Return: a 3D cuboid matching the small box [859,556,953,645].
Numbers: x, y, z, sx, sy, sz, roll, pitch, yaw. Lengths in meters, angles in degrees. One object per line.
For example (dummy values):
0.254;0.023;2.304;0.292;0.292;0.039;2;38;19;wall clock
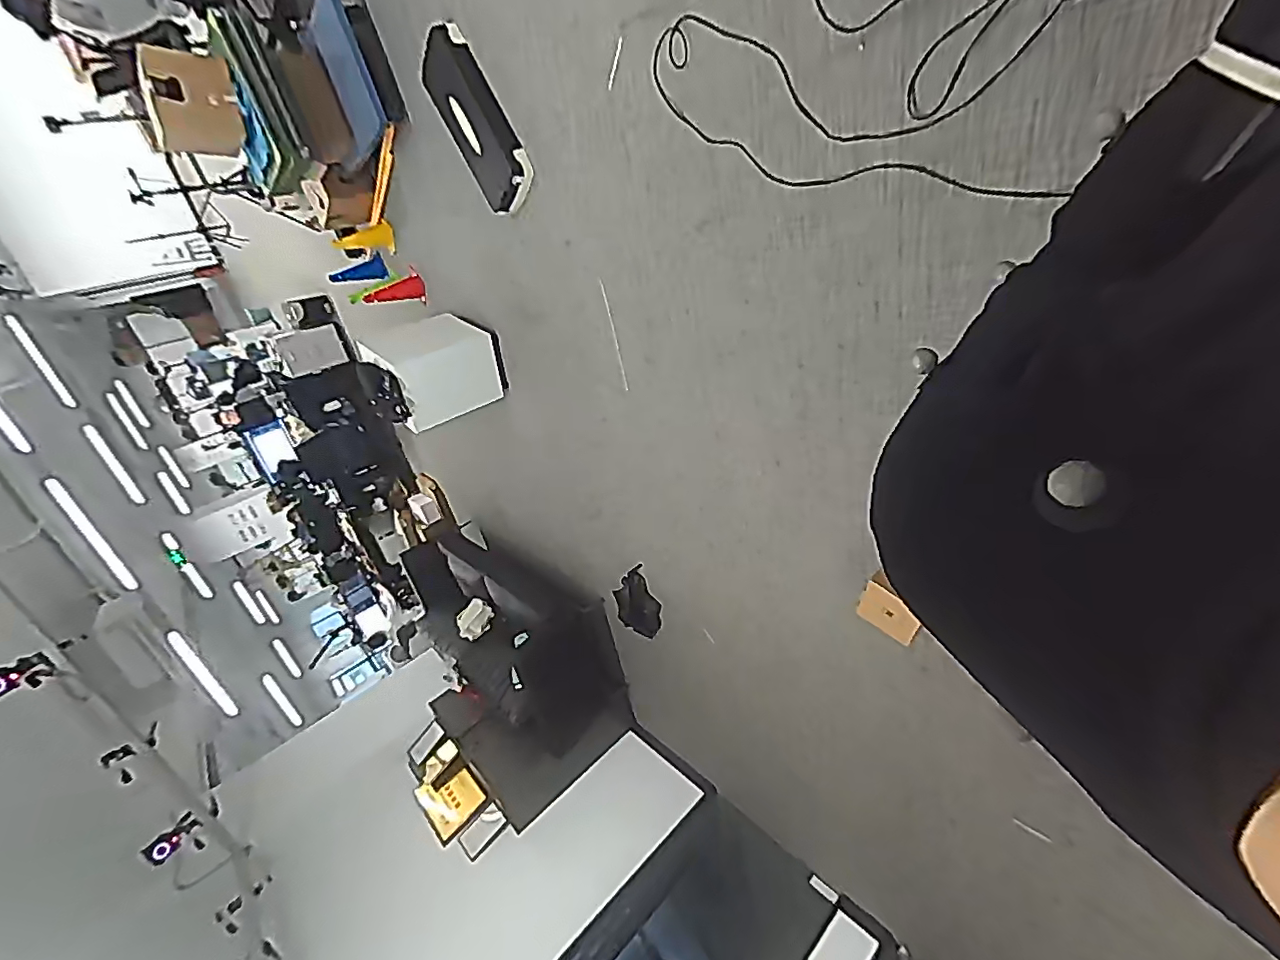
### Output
0.806;0.357;1.642;0.179;0.176;0.168;33;141;34;small box
